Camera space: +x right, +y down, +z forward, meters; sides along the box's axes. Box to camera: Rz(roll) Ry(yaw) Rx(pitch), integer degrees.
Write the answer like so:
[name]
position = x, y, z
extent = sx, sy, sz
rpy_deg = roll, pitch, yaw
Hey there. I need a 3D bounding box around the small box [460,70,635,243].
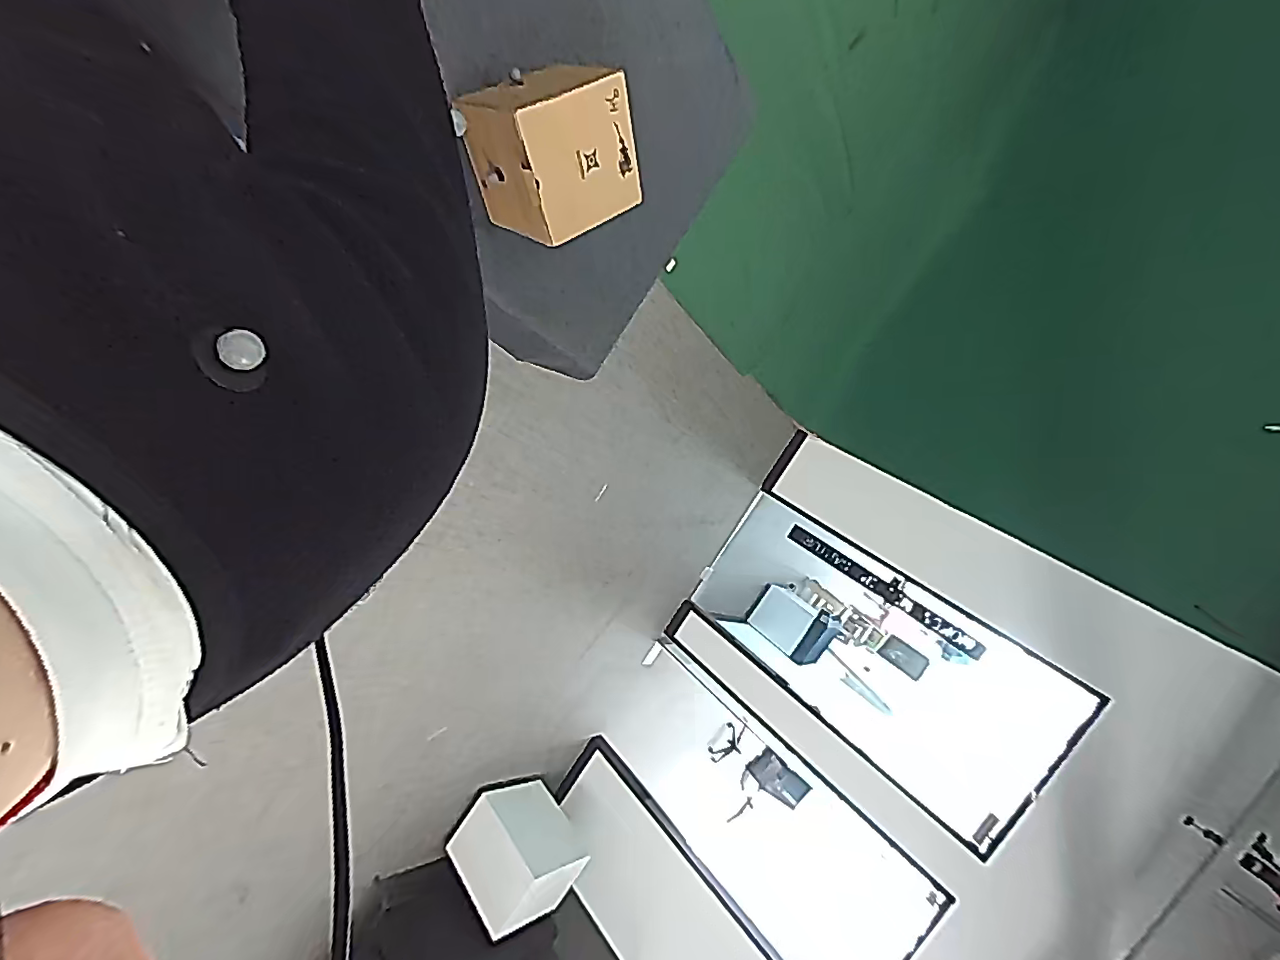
[small box]
position = -0.135, -0.469, 0.778
extent = 0.179, 0.176, 0.168
rpy_deg = -36, 141, -22
